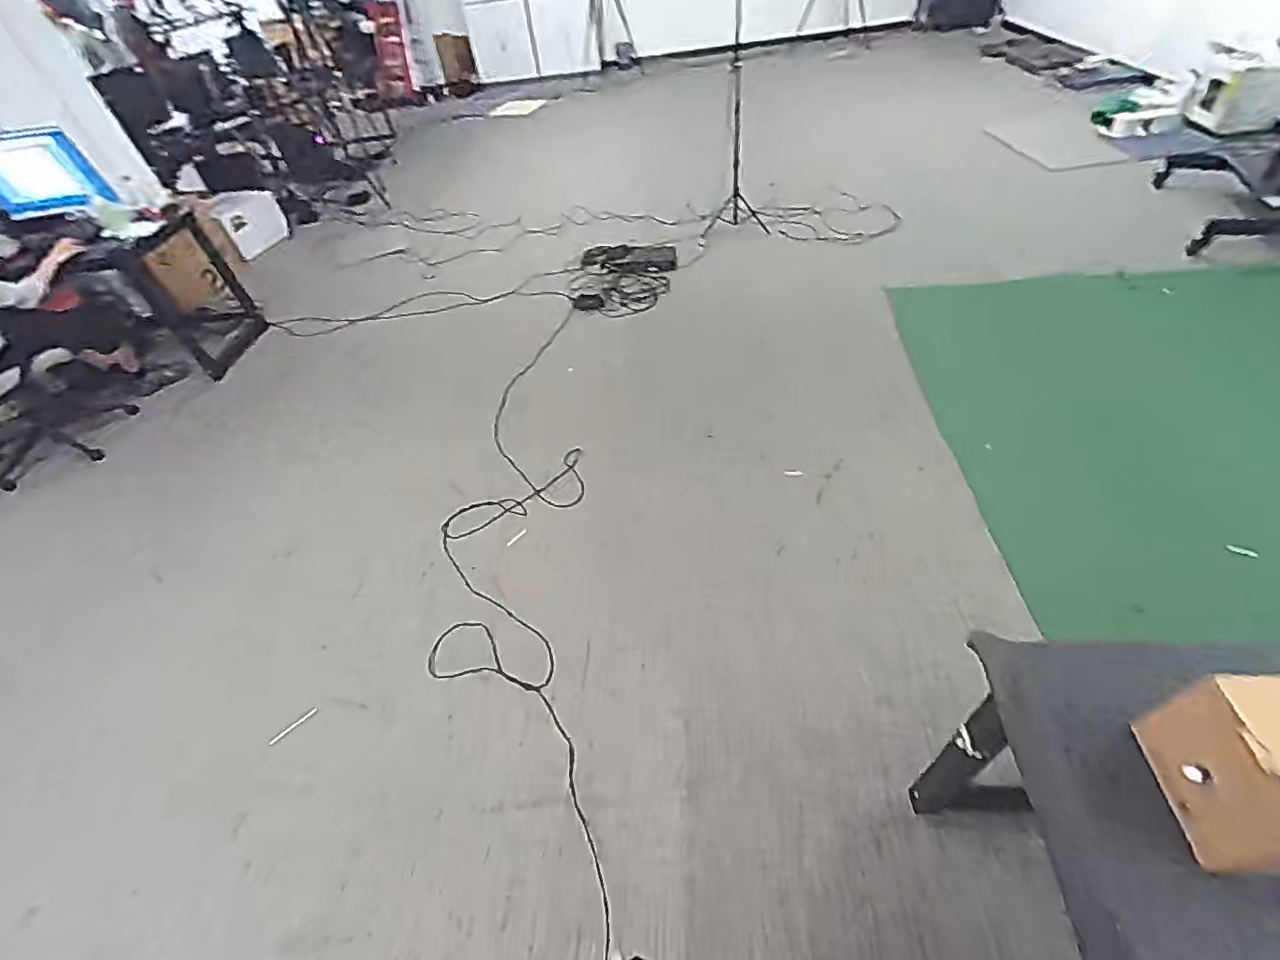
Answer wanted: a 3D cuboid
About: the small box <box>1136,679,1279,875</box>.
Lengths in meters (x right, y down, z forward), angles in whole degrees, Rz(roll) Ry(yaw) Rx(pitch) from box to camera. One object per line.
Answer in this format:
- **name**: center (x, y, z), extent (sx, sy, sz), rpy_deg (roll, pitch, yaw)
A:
- **small box**: center (0.734, 0.346, 0.623), extent (0.179, 0.176, 0.168), rpy_deg (0, 48, 7)
